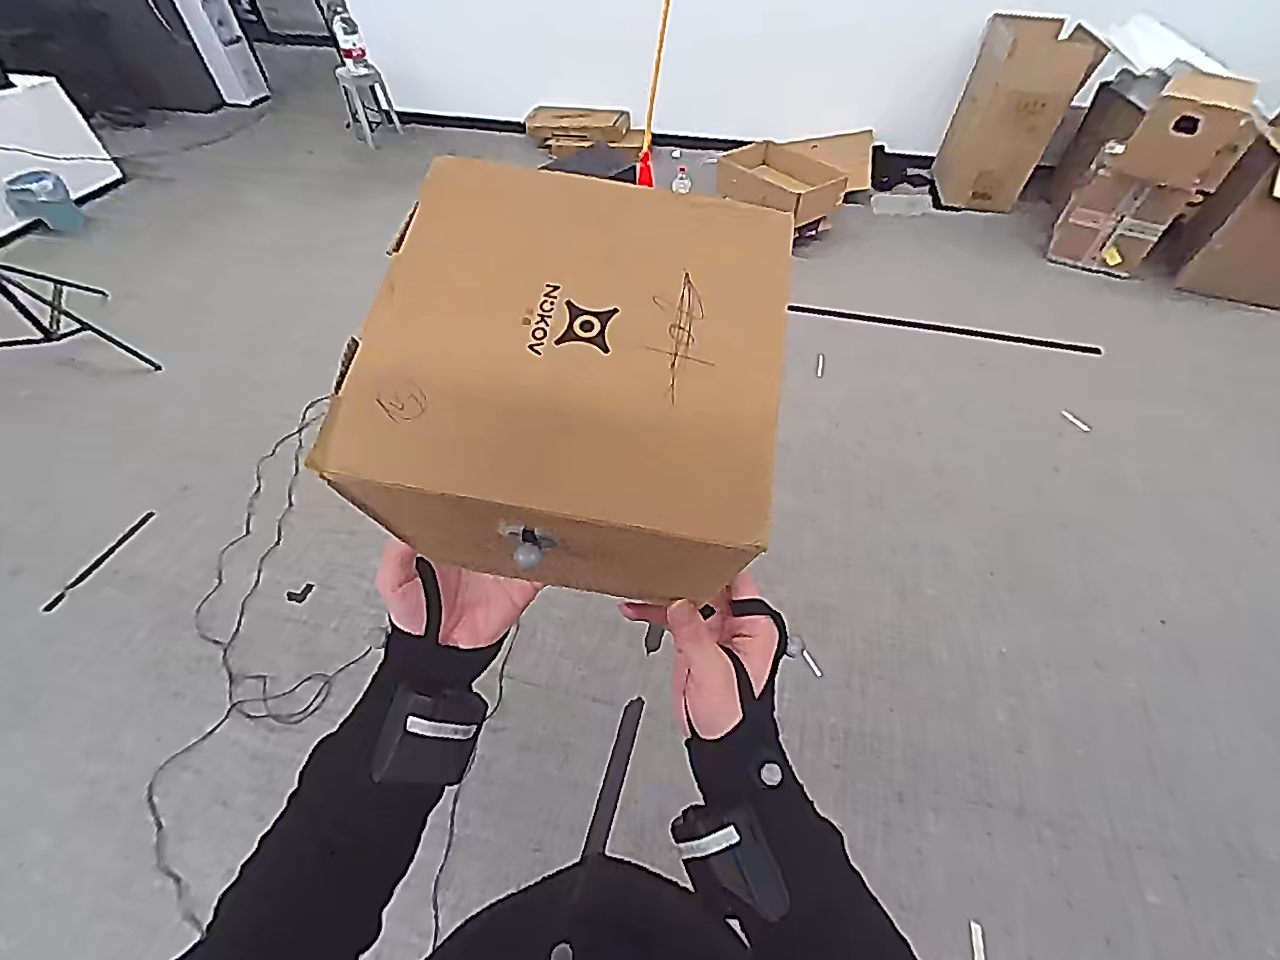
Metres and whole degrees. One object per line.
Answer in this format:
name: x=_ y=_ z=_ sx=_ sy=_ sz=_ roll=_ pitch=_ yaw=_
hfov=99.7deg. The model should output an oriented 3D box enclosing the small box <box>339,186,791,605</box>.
small box: x=-0.026 y=-0.030 z=0.314 sx=0.179 sy=0.176 sz=0.168 roll=9 pitch=69 yaw=-1
